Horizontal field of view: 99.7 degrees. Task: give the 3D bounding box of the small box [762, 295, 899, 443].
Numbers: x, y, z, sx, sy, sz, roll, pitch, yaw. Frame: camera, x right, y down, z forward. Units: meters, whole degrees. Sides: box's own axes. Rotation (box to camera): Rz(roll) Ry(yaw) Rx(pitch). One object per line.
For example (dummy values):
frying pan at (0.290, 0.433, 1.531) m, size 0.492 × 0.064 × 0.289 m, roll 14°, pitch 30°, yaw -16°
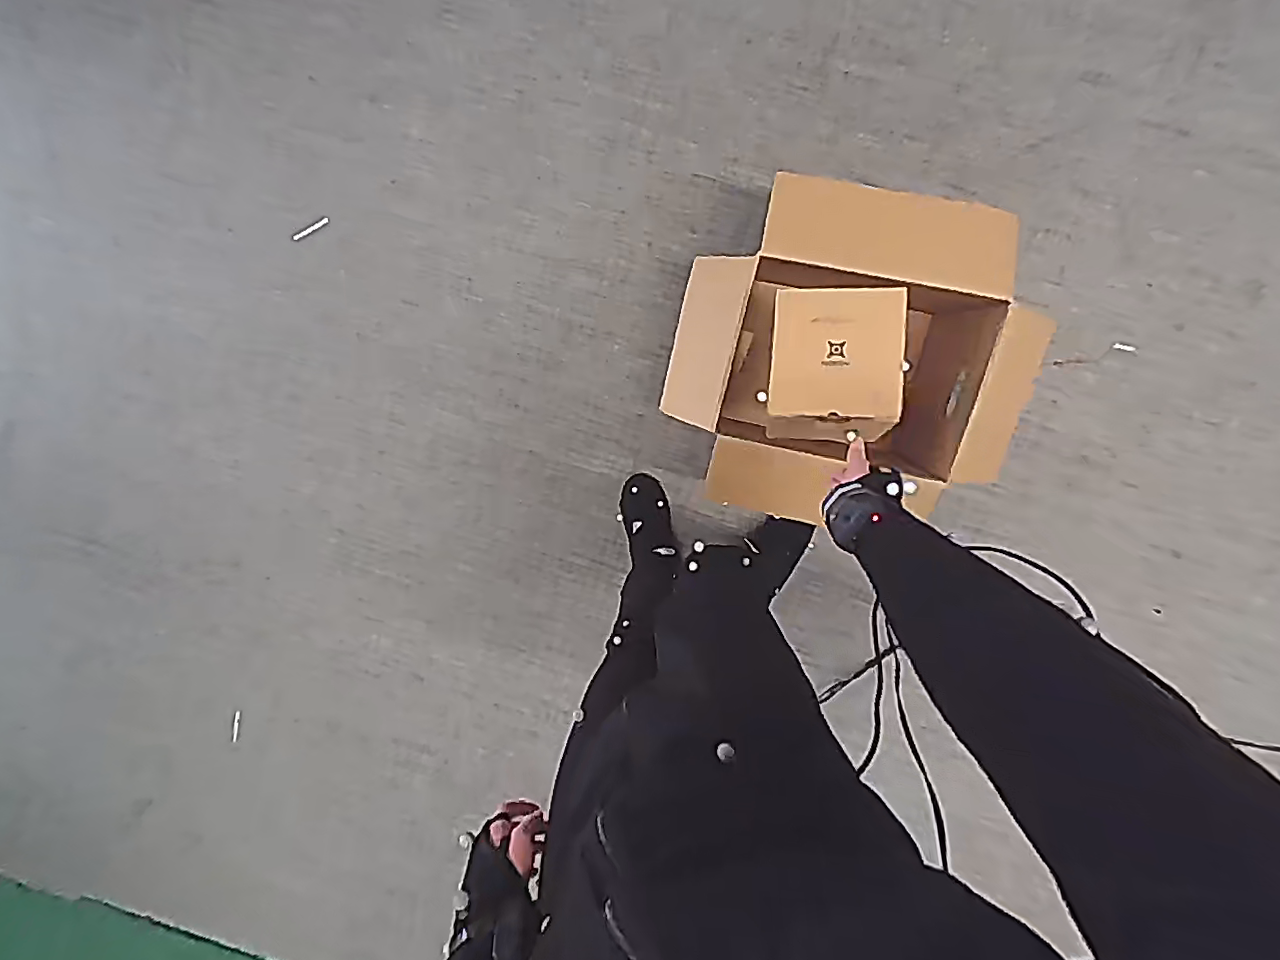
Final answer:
small box at (0.272, -0.155, 0.802) m, size 0.168 × 0.176 × 0.179 m, roll 5°, pitch 83°, yaw 11°
